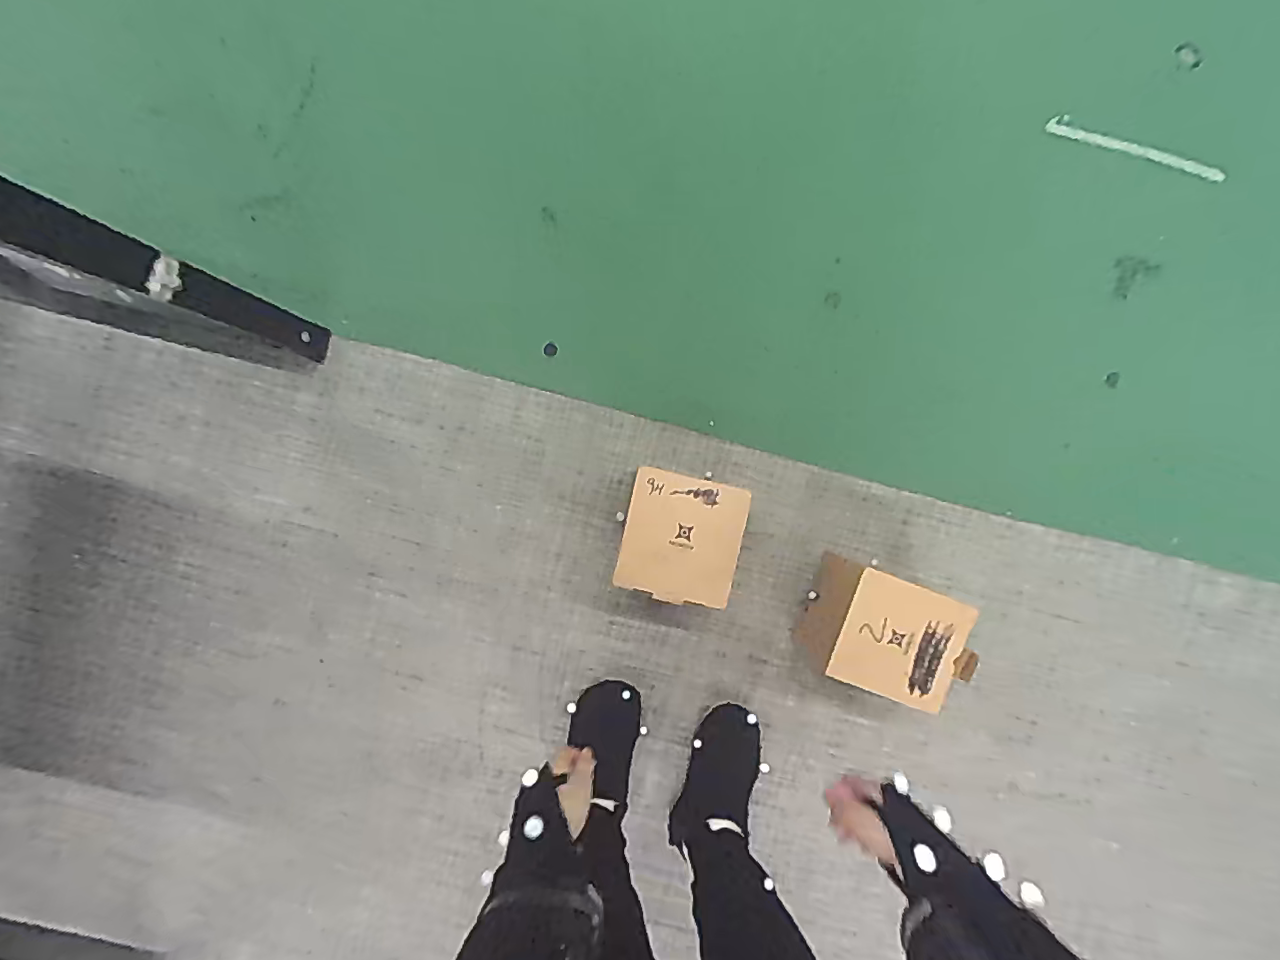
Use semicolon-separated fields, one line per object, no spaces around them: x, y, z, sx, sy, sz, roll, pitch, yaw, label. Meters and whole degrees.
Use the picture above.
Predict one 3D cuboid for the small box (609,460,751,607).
0.056;0.072;0.824;0.168;0.176;0.179;13;91;0;small box
